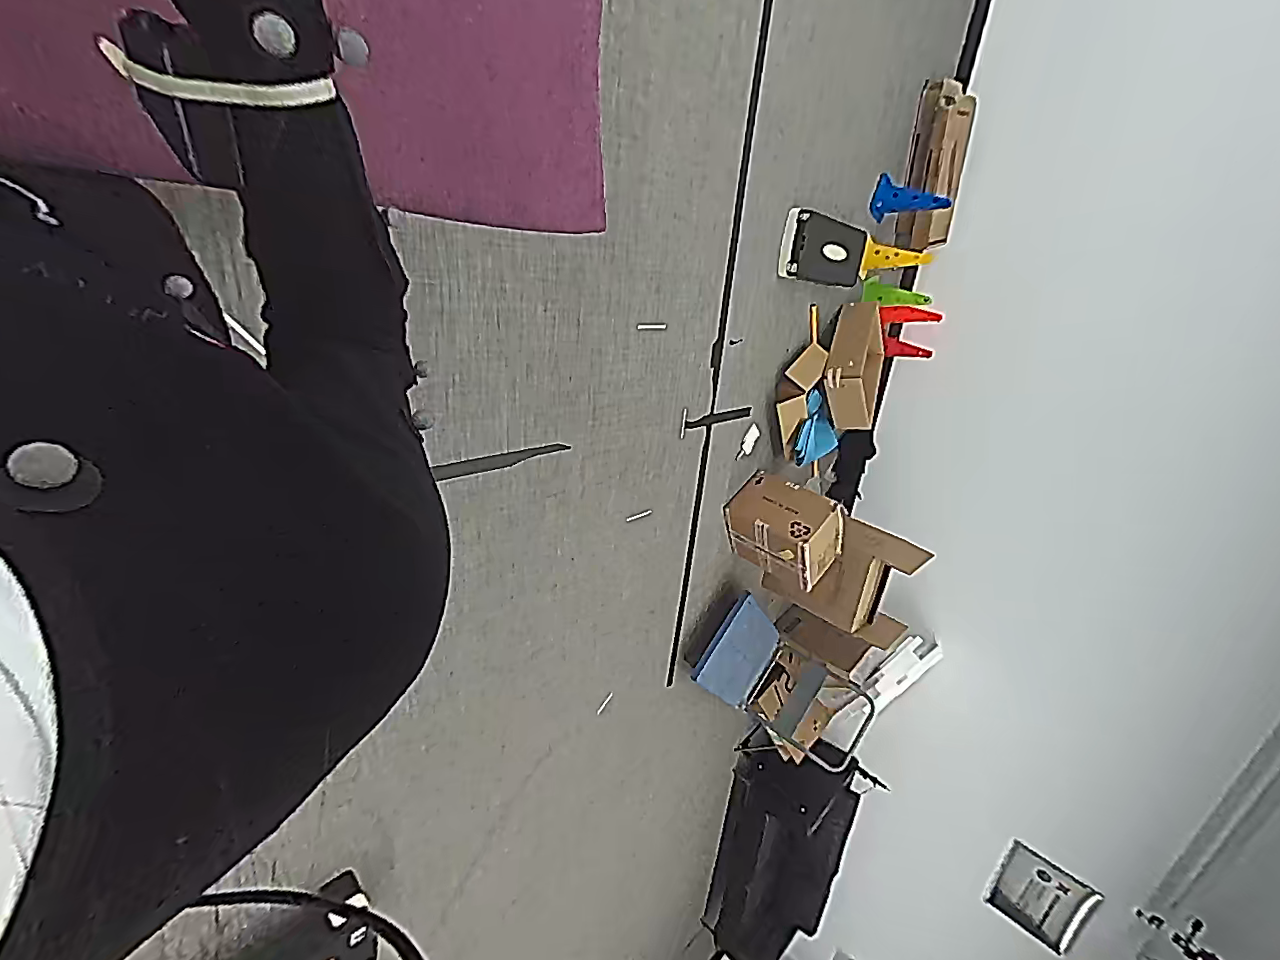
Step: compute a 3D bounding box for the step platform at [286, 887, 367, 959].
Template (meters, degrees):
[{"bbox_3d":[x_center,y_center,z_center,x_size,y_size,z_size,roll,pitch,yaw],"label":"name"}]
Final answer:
[{"bbox_3d":[-1.182,1.581,1.589,0.684,0.204,0.286,-18,123,-45],"label":"step platform"}]
